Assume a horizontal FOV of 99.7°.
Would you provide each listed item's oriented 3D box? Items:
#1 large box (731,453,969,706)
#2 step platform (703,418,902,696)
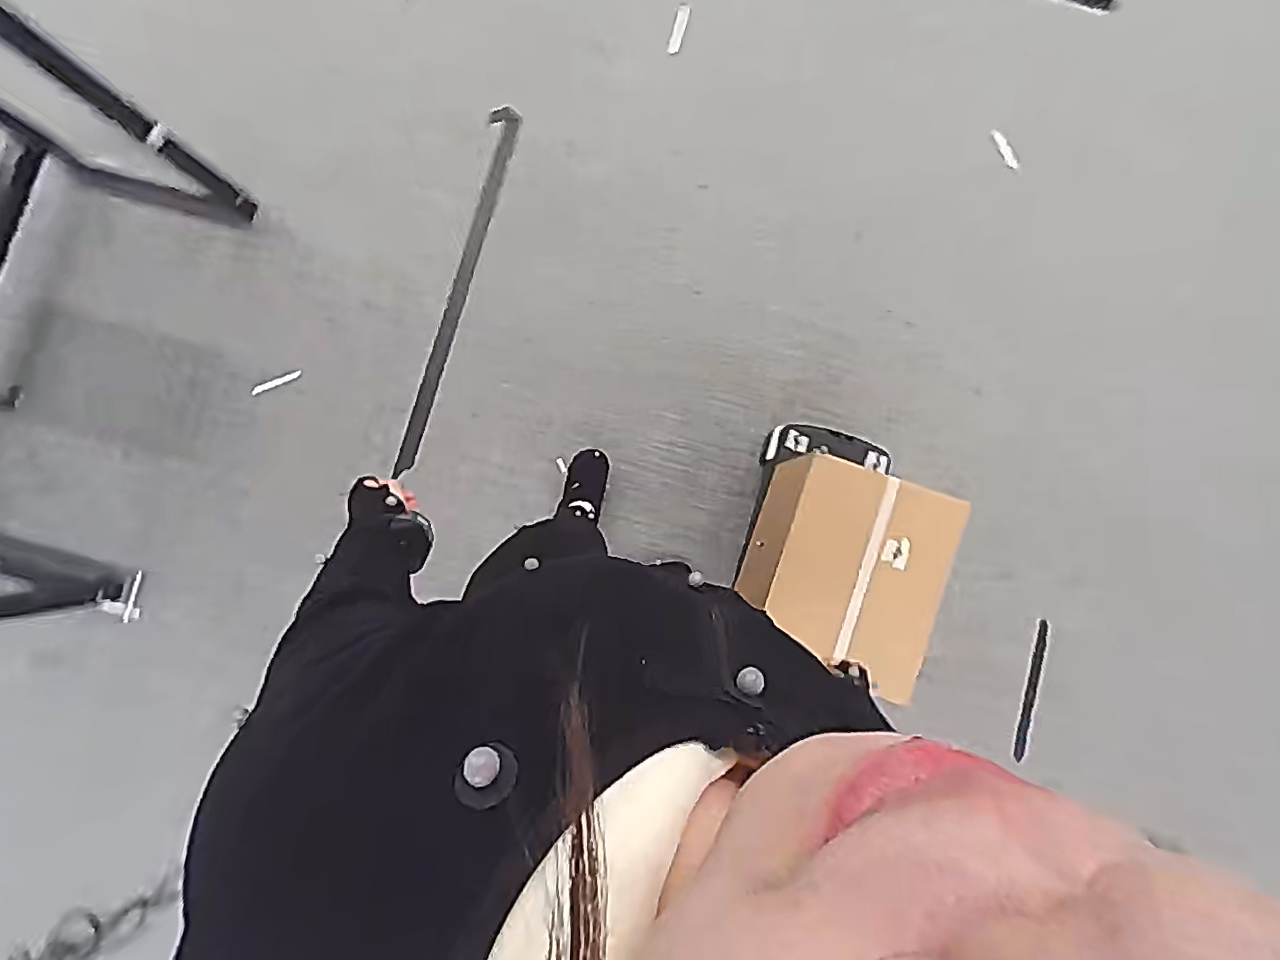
[{"bbox_3d":[0.417,0.196,1.156,0.320,0.320,0.408,19,86,1],"label":"large box"},{"bbox_3d":[0.412,0.188,1.396,0.286,0.204,0.684,22,86,1],"label":"step platform"}]
